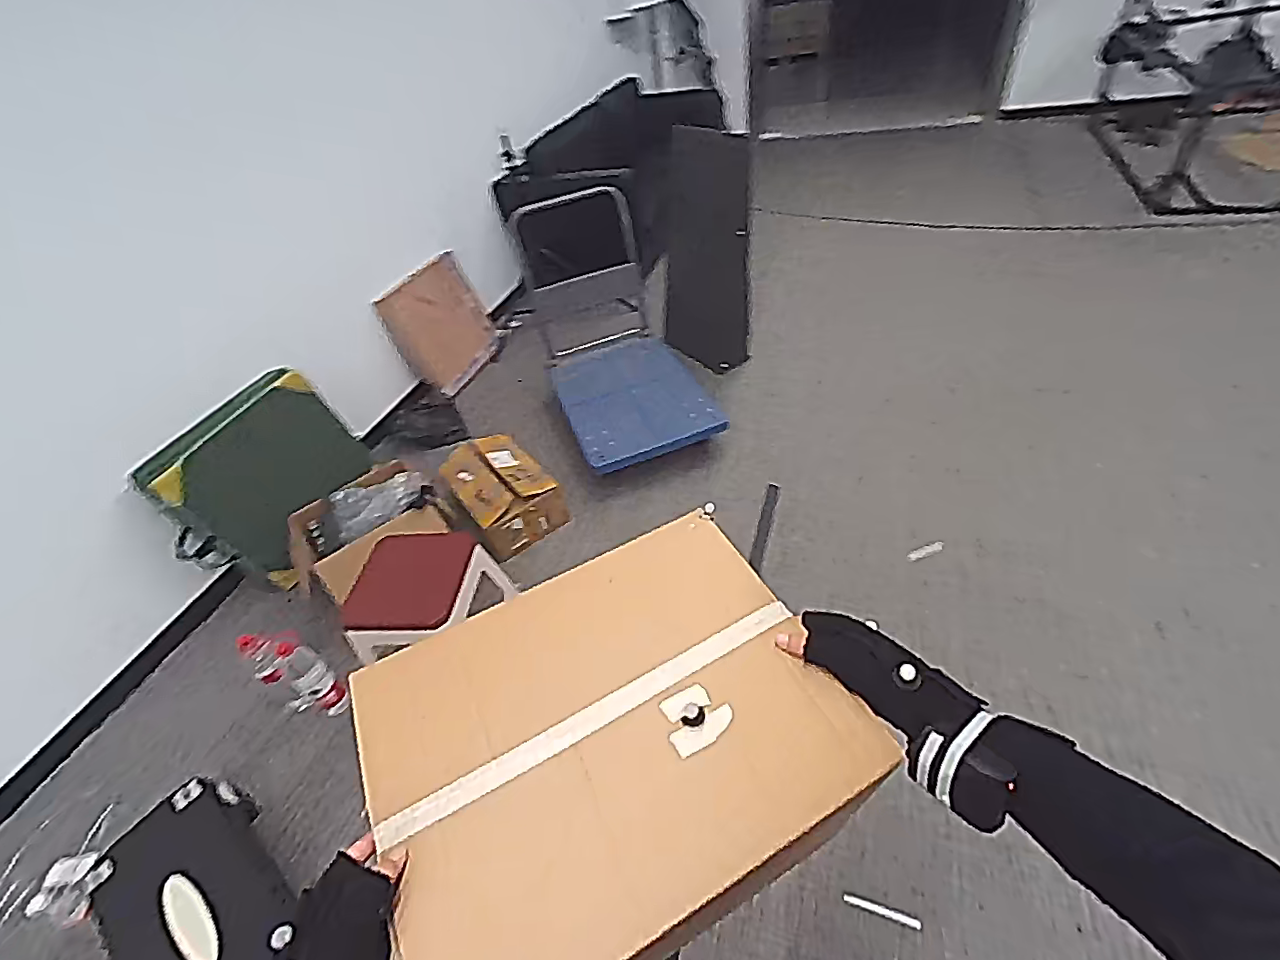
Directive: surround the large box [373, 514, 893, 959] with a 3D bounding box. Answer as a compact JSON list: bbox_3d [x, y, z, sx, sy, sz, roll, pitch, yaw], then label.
[{"bbox_3d":[-0.015,0.311,0.606,0.408,0.320,0.320,-23,49,-15],"label":"large box"}]
